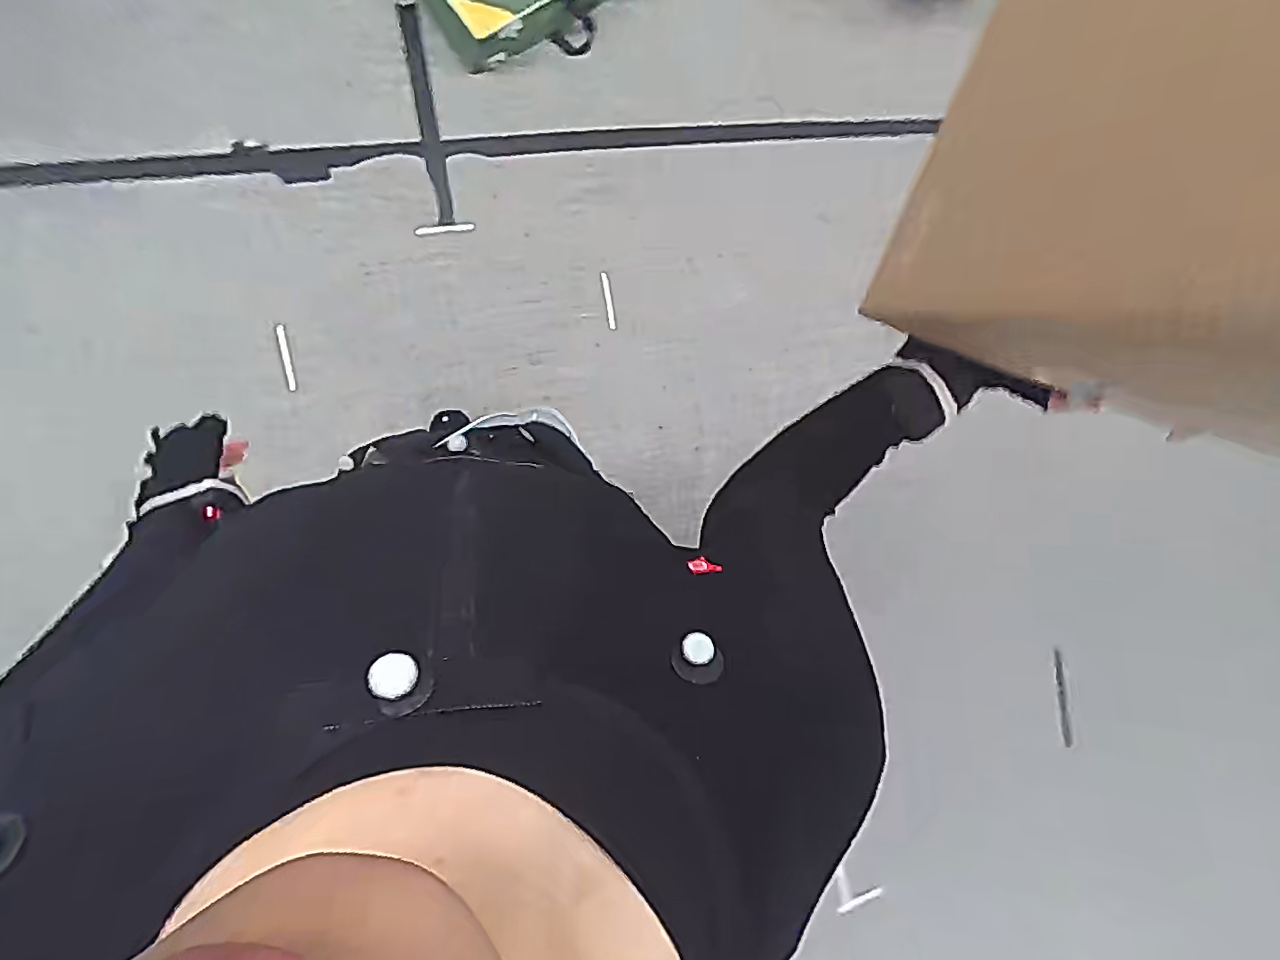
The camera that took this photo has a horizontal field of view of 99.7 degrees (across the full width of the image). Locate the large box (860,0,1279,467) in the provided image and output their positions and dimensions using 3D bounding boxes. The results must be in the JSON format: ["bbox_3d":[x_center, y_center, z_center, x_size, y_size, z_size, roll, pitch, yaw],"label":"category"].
[{"bbox_3d":[0.354,-0.158,0.230,0.320,0.408,0.320,21,111,-1],"label":"large box"}]
